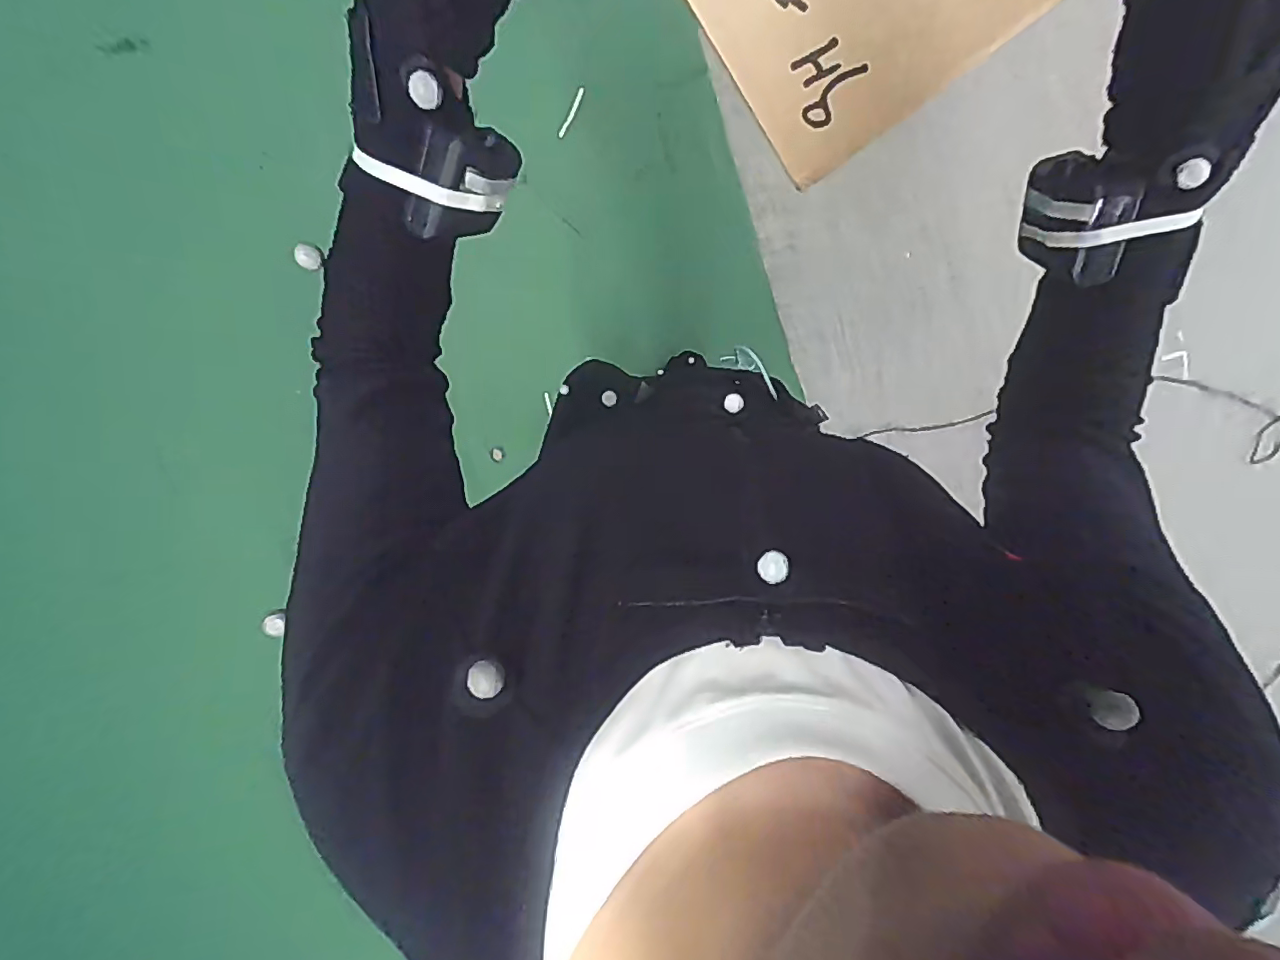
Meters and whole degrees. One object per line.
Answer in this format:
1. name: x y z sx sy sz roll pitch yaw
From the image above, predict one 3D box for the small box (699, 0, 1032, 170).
1. small box: 0.094 -0.267 0.211 0.179 0.176 0.168 -28 119 30
